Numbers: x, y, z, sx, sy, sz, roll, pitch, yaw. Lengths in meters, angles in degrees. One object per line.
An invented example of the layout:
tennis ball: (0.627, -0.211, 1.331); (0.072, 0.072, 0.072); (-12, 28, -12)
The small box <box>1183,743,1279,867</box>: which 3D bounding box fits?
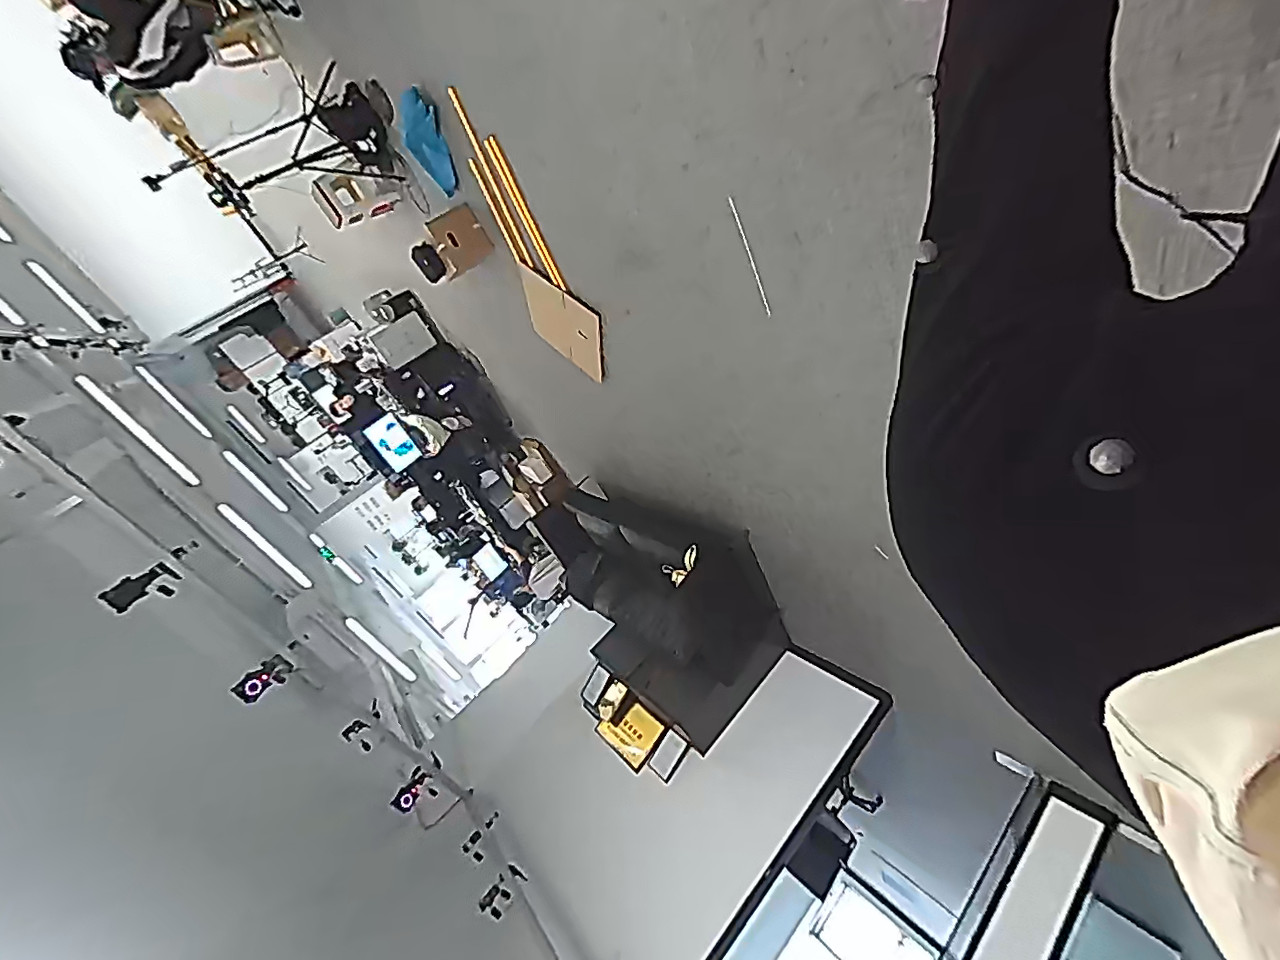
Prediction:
small box: (1.488, 0.793, 1.332); (0.179, 0.176, 0.168); (55, 159, -21)
